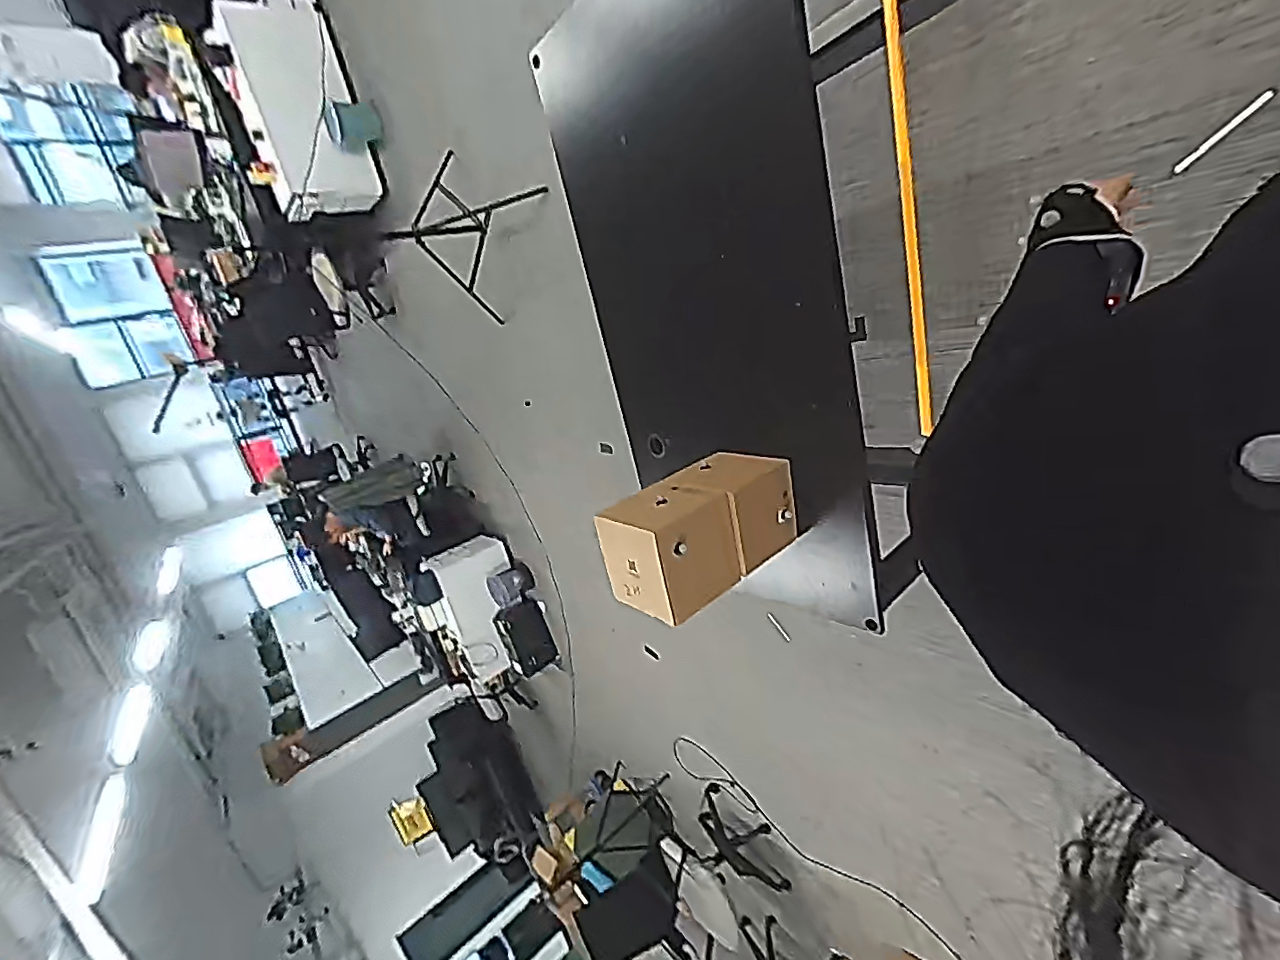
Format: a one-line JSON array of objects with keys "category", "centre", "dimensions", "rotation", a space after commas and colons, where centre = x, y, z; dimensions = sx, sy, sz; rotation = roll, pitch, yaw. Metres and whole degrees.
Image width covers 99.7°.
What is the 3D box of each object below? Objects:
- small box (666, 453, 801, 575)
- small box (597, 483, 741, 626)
[{"category": "small box", "centre": [0.180, 0.054, 1.034], "dimensions": [0.179, 0.176, 0.168], "rotation": [10, 120, 49]}, {"category": "small box", "centre": [0.054, 0.118, 0.949], "dimensions": [0.168, 0.176, 0.179], "rotation": [11, 121, 51]}]
